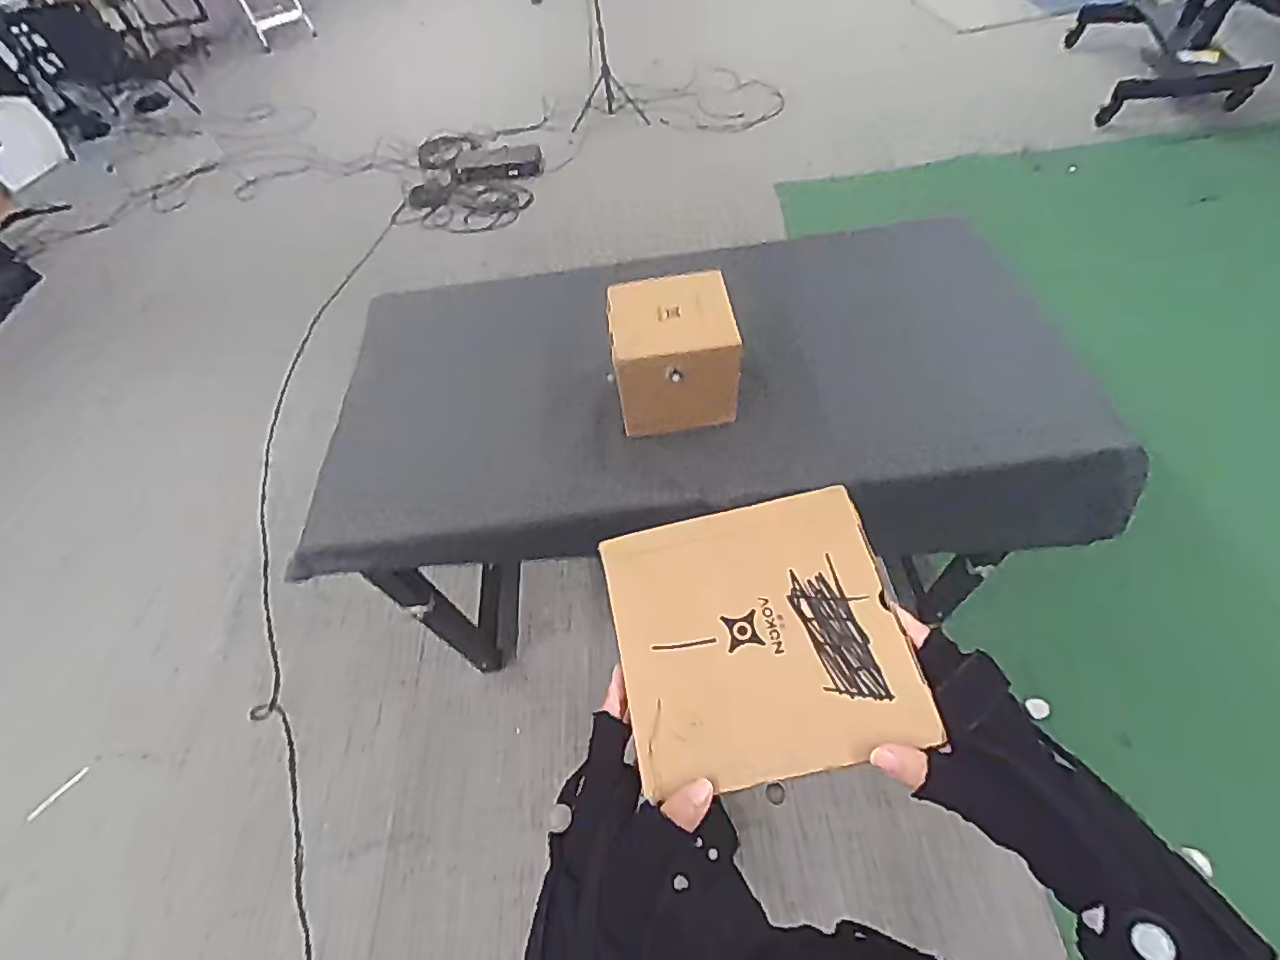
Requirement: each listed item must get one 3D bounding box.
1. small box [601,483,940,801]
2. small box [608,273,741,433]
[{"bbox_3d":[0.079,0.126,0.414,0.179,0.176,0.168,-14,63,-2],"label":"small box"},{"bbox_3d":[0.052,-0.189,0.835,0.179,0.176,0.168,-7,56,1],"label":"small box"}]
